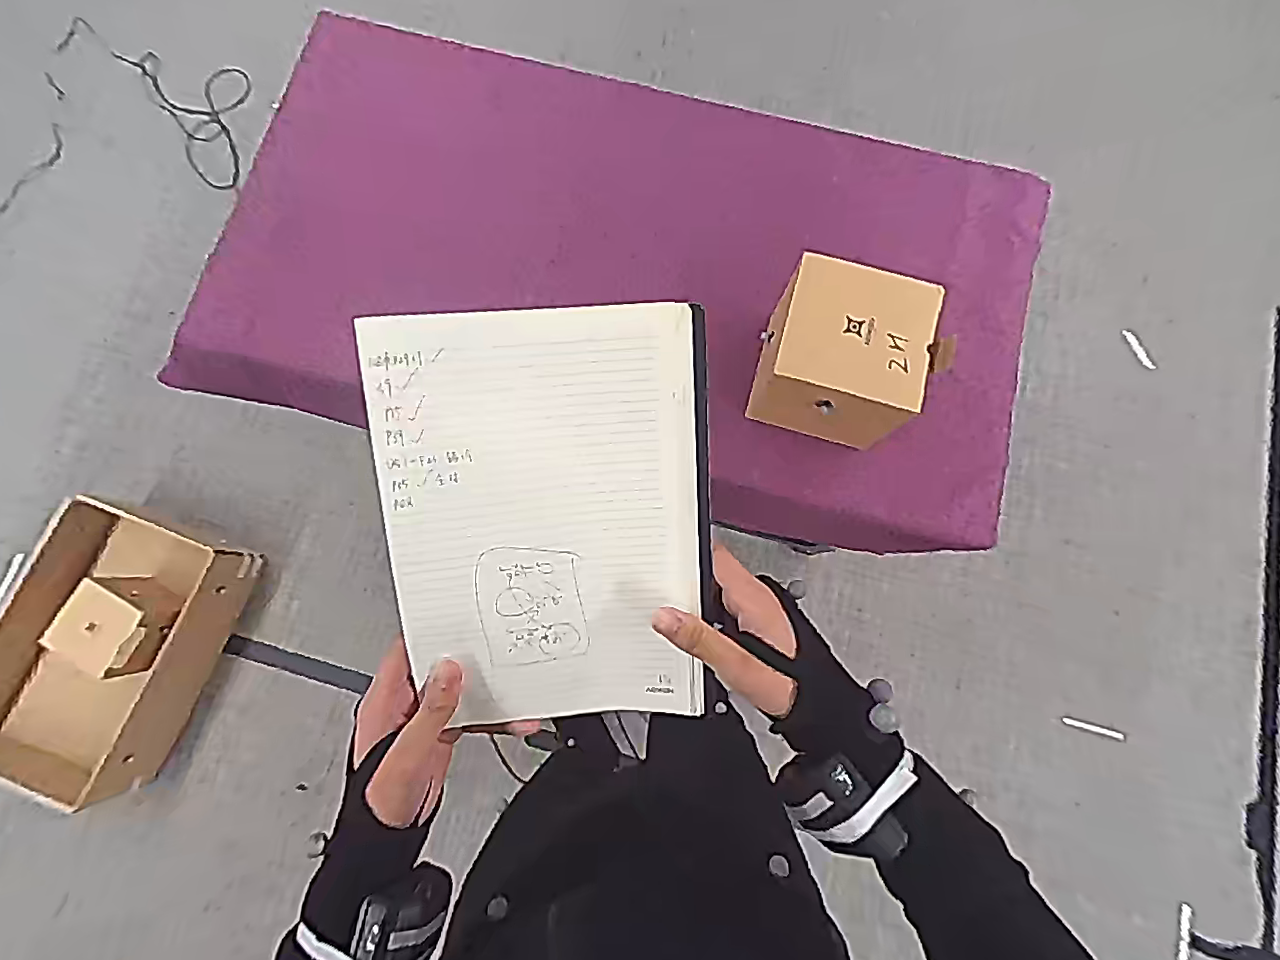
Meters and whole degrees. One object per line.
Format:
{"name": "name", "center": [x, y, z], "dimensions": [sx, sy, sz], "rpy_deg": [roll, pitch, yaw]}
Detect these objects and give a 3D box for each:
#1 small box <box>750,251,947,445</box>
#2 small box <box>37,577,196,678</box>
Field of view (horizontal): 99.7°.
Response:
{"name": "small box", "center": [0.256, -0.158, 0.704], "dimensions": [0.179, 0.176, 0.168], "rpy_deg": [17, 79, 3]}
{"name": "small box", "center": [-1.229, 0.341, 1.288], "dimensions": [0.179, 0.176, 0.168], "rpy_deg": [29, 80, 5]}
